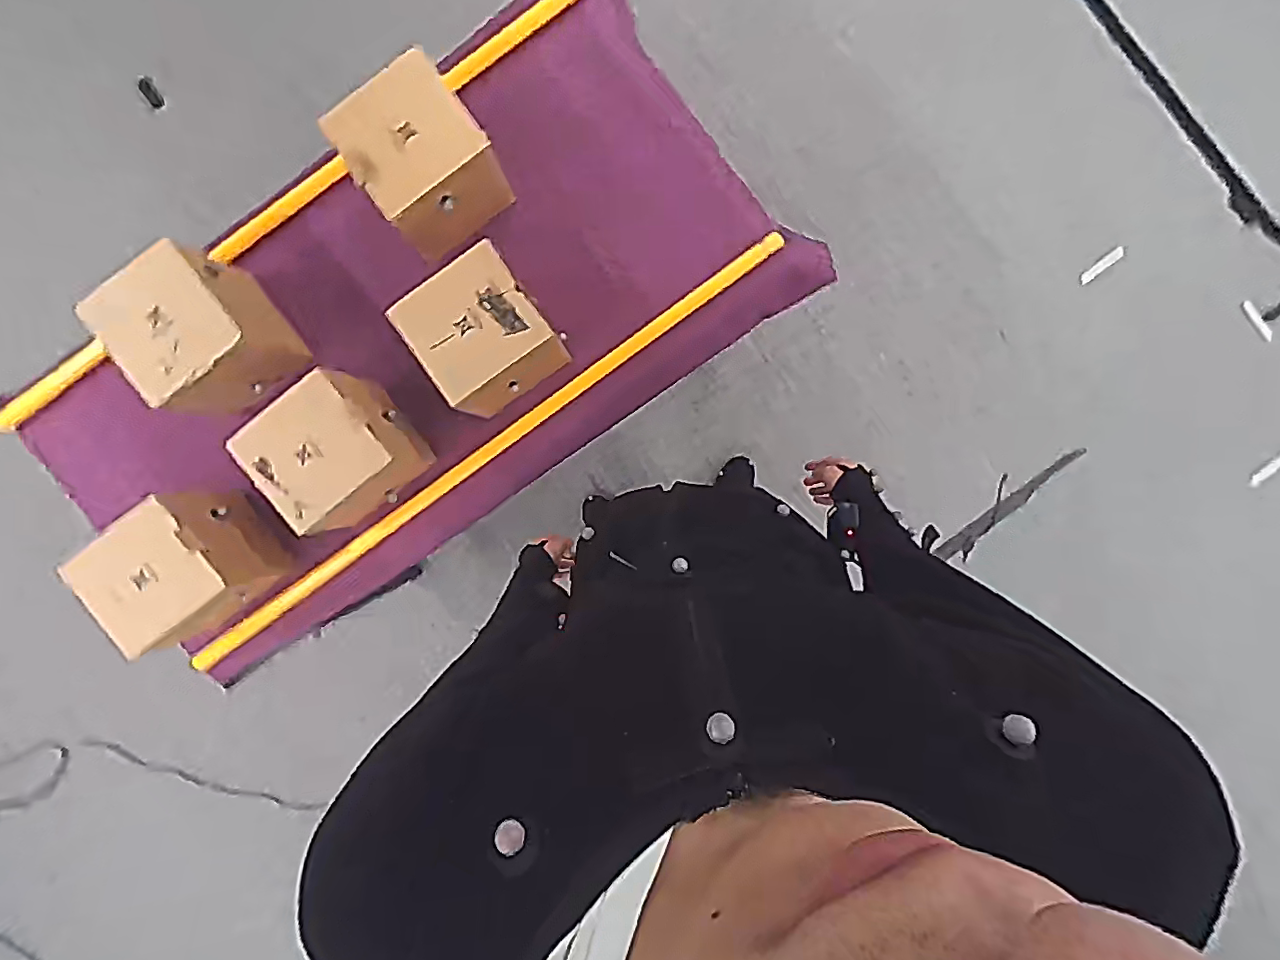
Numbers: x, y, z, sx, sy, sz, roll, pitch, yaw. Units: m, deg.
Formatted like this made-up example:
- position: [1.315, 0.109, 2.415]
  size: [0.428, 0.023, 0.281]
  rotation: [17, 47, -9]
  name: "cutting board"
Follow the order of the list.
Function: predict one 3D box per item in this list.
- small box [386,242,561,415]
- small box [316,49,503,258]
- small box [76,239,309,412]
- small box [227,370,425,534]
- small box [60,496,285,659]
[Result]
- position: [-0.237, -0.217, 0.825]
  size: [0.179, 0.176, 0.168]
  rotation: [-35, 90, 2]
  name: "small box"
- position: [-0.328, -0.475, 0.818]
  size: [0.179, 0.176, 0.168]
  rotation: [-37, 92, 2]
  name: "small box"
- position: [-0.666, -0.220, 0.827]
  size: [0.168, 0.176, 0.179]
  rotation: [-37, 93, 2]
  name: "small box"
- position: [-0.461, -0.042, 0.833]
  size: [0.179, 0.176, 0.168]
  rotation: [-39, 91, 1]
  name: "small box"
- position: [-0.697, 0.136, 0.838]
  size: [0.179, 0.176, 0.168]
  rotation: [-38, 91, -1]
  name: "small box"
